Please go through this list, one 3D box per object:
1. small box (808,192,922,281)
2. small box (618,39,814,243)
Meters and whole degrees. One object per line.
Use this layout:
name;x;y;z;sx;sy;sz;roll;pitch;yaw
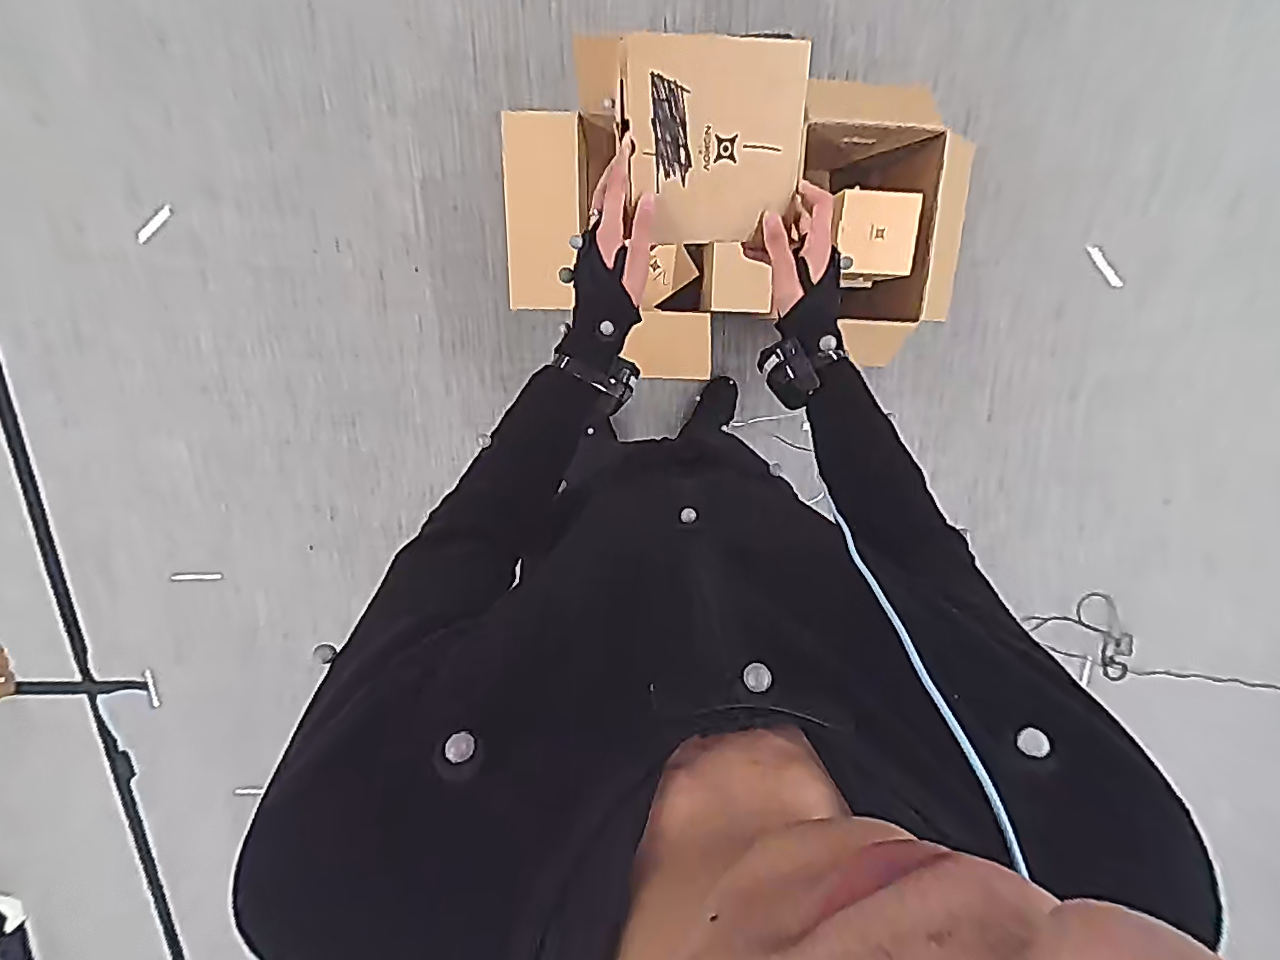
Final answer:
small box;0.510;-0.552;1.246;0.179;0.176;0.168;1;107;-3
small box;0.064;-0.353;0.586;0.179;0.176;0.168;-2;119;-4
